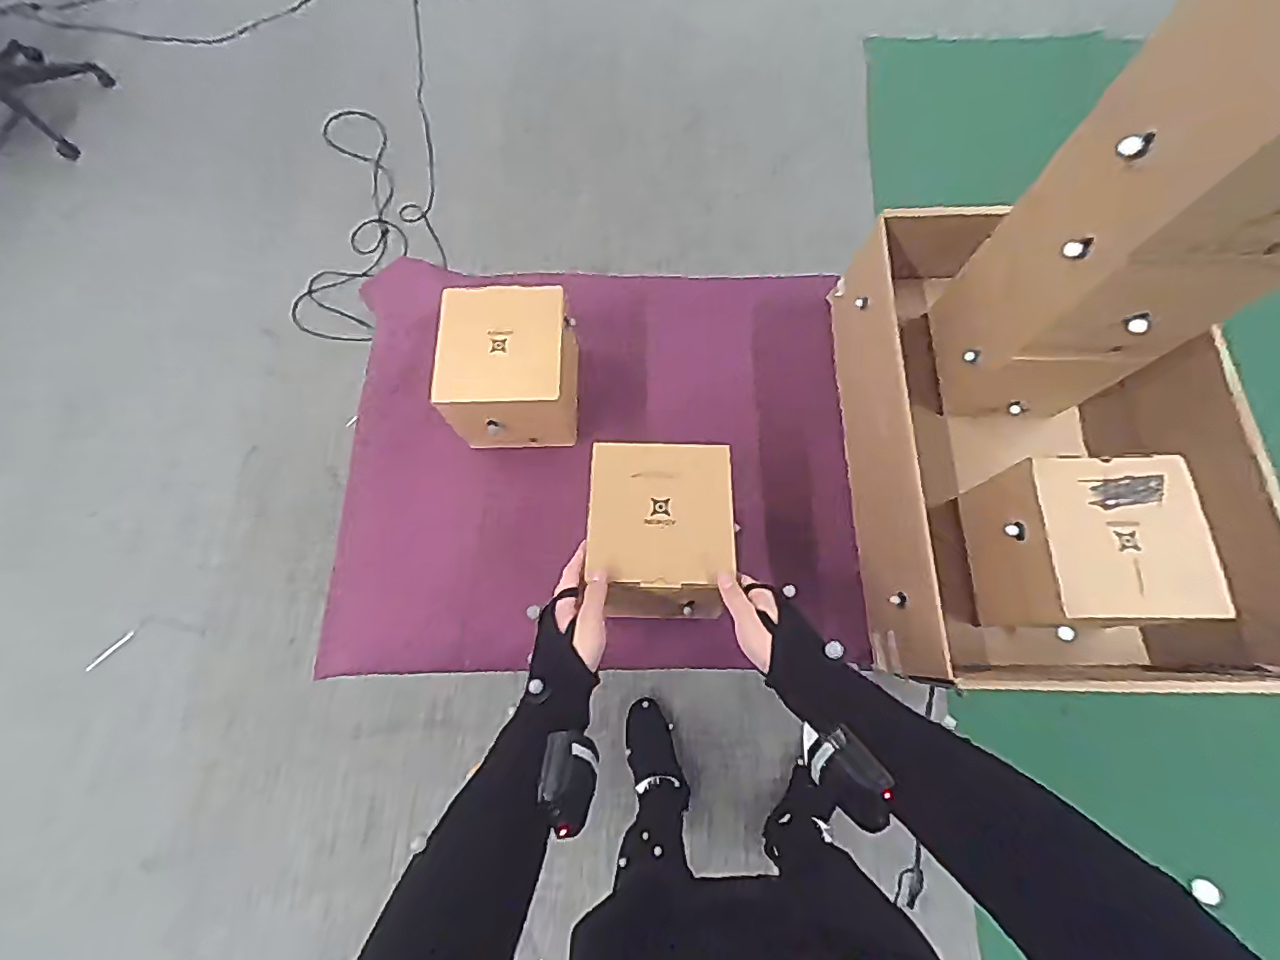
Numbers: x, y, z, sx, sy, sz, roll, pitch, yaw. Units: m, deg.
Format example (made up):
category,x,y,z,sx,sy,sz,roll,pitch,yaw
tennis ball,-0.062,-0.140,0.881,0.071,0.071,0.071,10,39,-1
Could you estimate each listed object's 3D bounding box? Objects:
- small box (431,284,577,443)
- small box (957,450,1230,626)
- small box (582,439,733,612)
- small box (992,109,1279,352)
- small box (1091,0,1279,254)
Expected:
category,x,y,z,sx,sy,sz,roll,pitch,yaw
small box,-0.185,-0.159,0.789,0.168,0.176,0.179,-1,71,1
small box,0.508,0.076,0.641,0.168,0.176,0.179,0,72,3
small box,0.023,0.065,0.683,0.168,0.176,0.179,1,64,1
small box,0.512,-0.252,0.574,0.168,0.176,0.179,2,73,2
small box,0.503,-0.298,0.418,0.168,0.176,0.179,2,74,3
